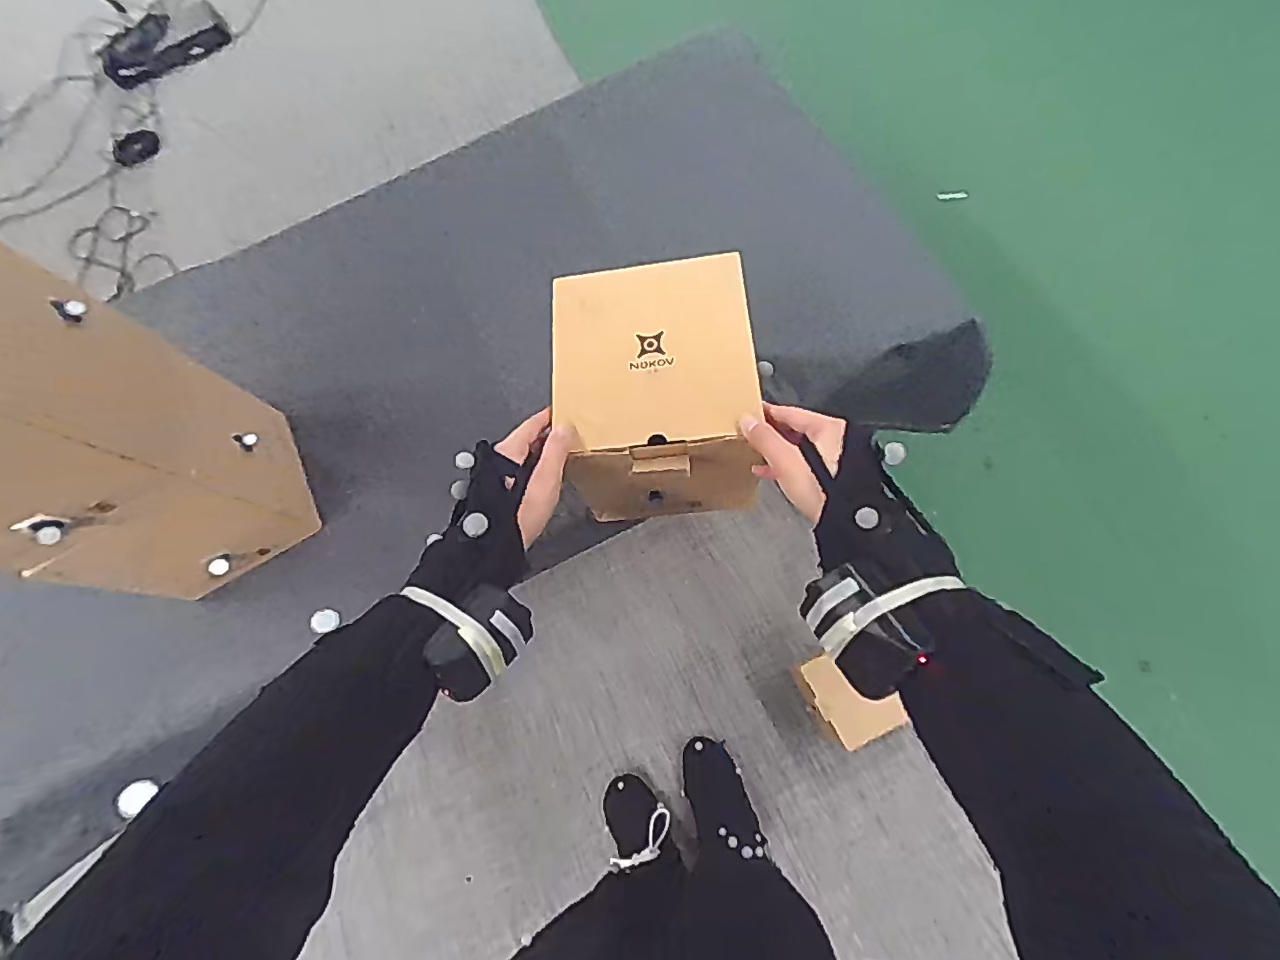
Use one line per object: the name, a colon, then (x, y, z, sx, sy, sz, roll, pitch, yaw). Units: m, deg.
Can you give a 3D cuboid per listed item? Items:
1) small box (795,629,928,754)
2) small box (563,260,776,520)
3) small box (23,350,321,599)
small box: (0.424, 0.418, 1.075, 0.179, 0.176, 0.168, -28, 68, -2)
small box: (0.028, -0.074, 0.515, 0.168, 0.176, 0.179, -6, 68, 6)
small box: (-0.481, 0.005, 0.572, 0.168, 0.176, 0.179, -30, 69, -3)
